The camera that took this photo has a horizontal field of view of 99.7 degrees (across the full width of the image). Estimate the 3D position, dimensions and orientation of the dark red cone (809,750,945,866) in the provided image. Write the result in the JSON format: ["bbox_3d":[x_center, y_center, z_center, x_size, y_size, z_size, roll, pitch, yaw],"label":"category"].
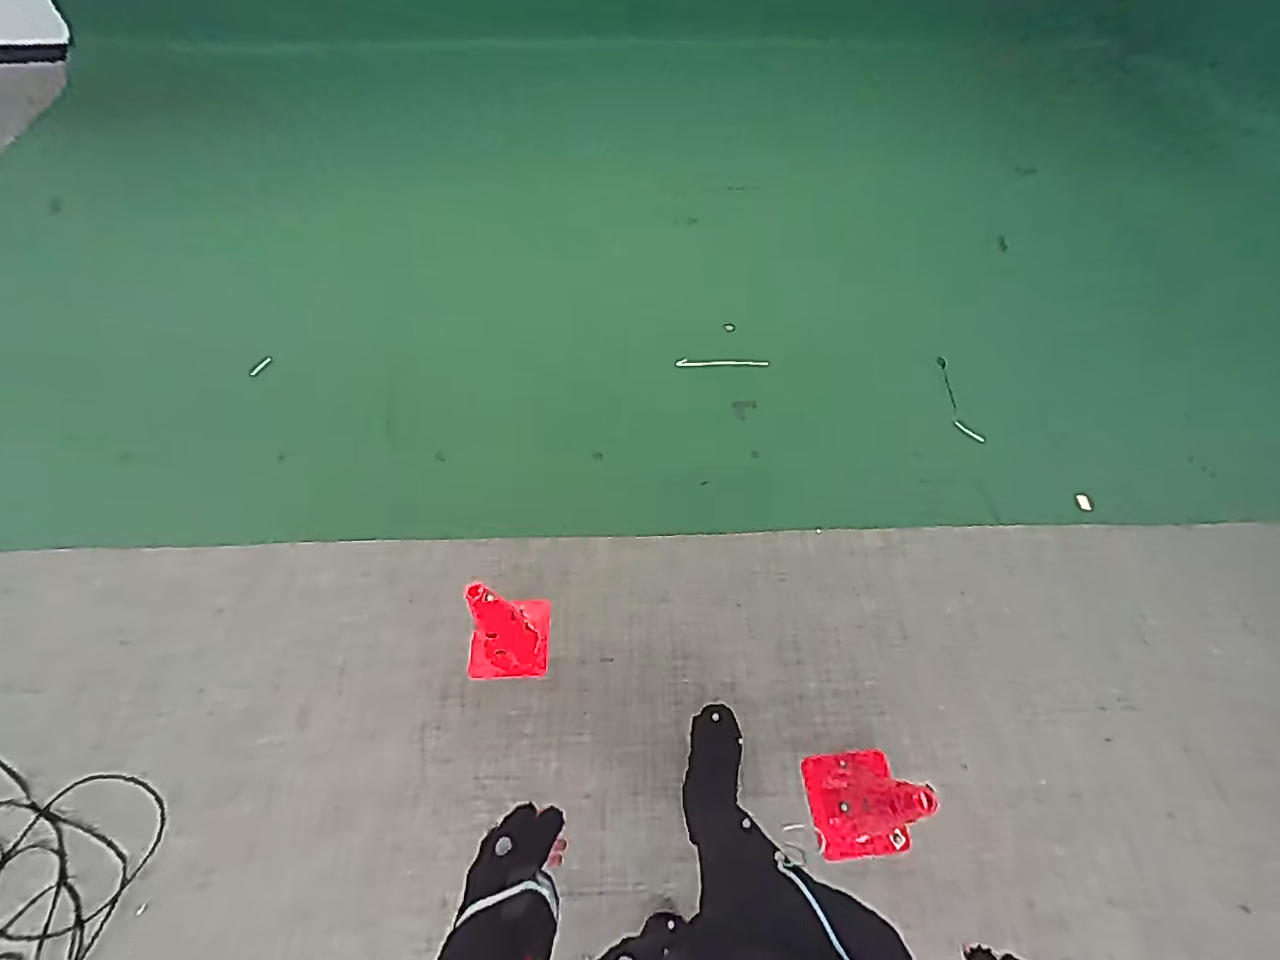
[{"bbox_3d":[0.484,0.623,1.041,0.202,0.394,0.201,-7,58,-3],"label":"dark red cone"}]

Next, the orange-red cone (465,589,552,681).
[{"bbox_3d":[-0.333,0.332,1.256,0.198,0.360,0.199,-2,60,1],"label":"orange-red cone"}]
